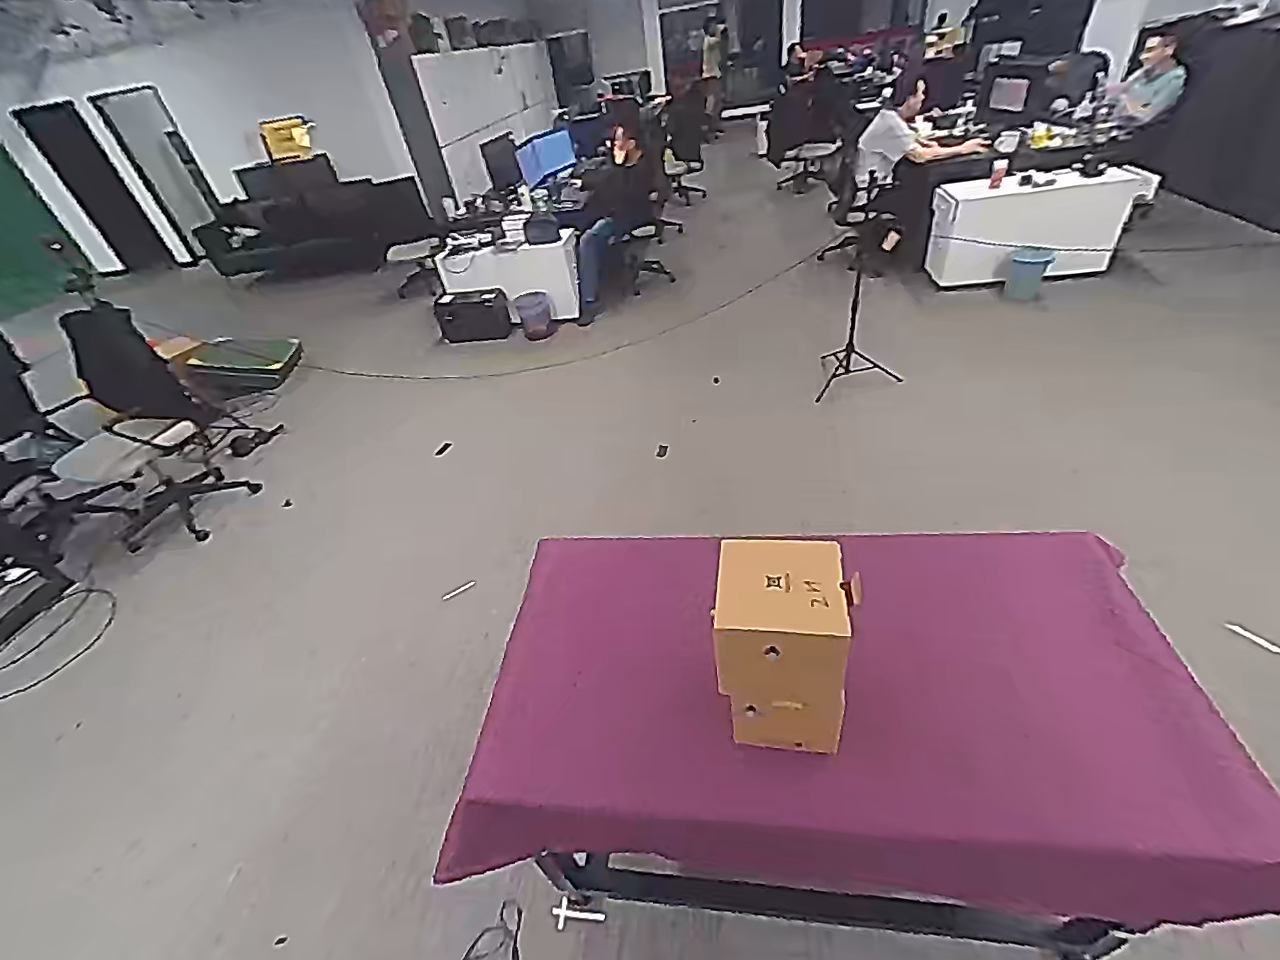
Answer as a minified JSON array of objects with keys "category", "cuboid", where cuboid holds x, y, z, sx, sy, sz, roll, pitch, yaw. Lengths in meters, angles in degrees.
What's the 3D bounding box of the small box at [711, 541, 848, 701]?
[{"category":"small box","cuboid":[0.206,0.209,0.808,0.179,0.176,0.168,1,40,13]}]
